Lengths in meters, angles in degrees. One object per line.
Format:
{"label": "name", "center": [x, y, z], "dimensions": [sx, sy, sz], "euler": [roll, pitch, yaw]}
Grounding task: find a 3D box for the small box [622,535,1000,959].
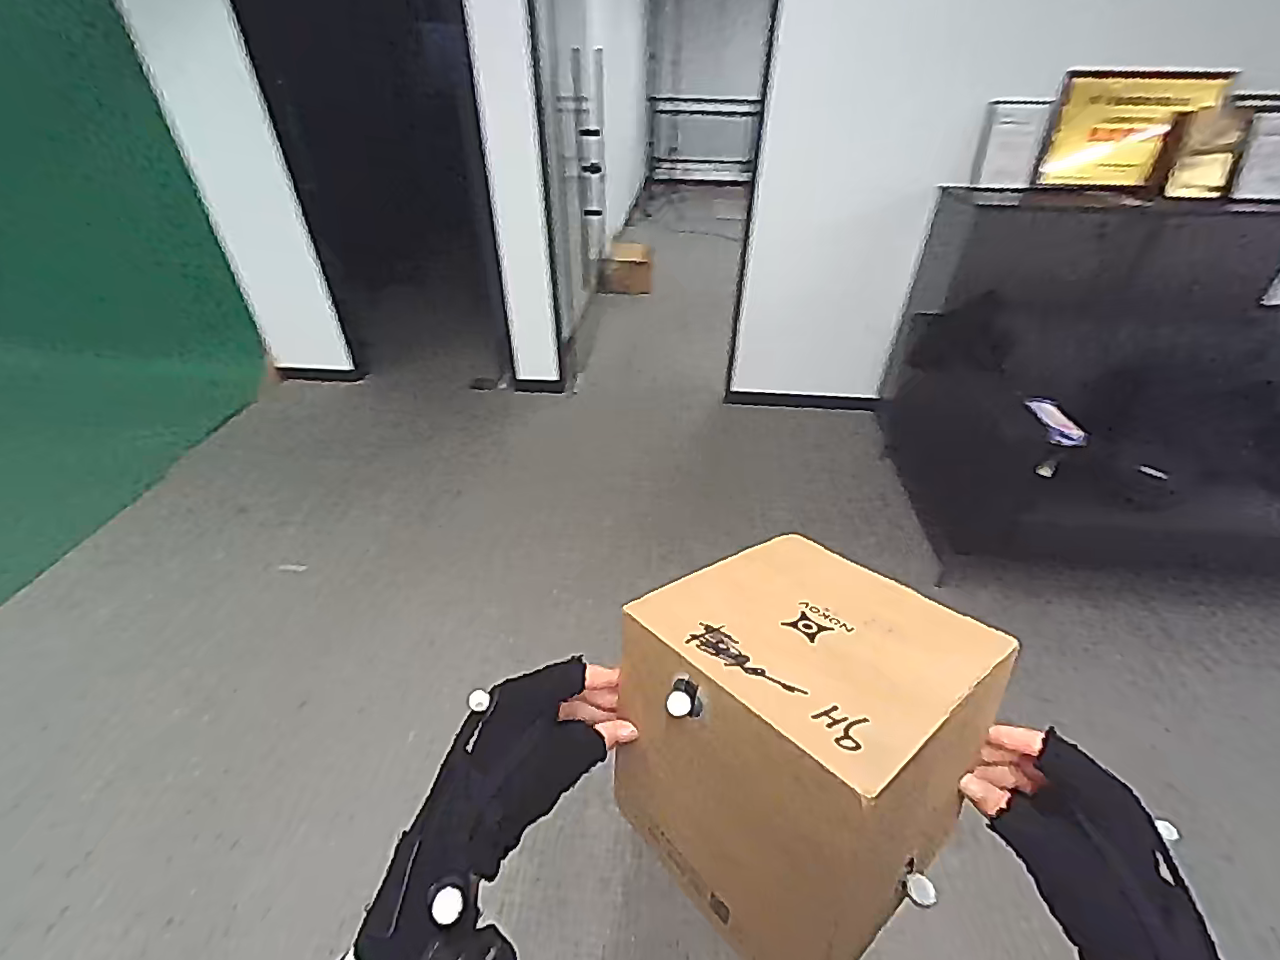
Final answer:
{"label": "small box", "center": [0.101, 0.161, 0.364], "dimensions": [0.179, 0.176, 0.168], "euler": [-14, 25, -38]}
